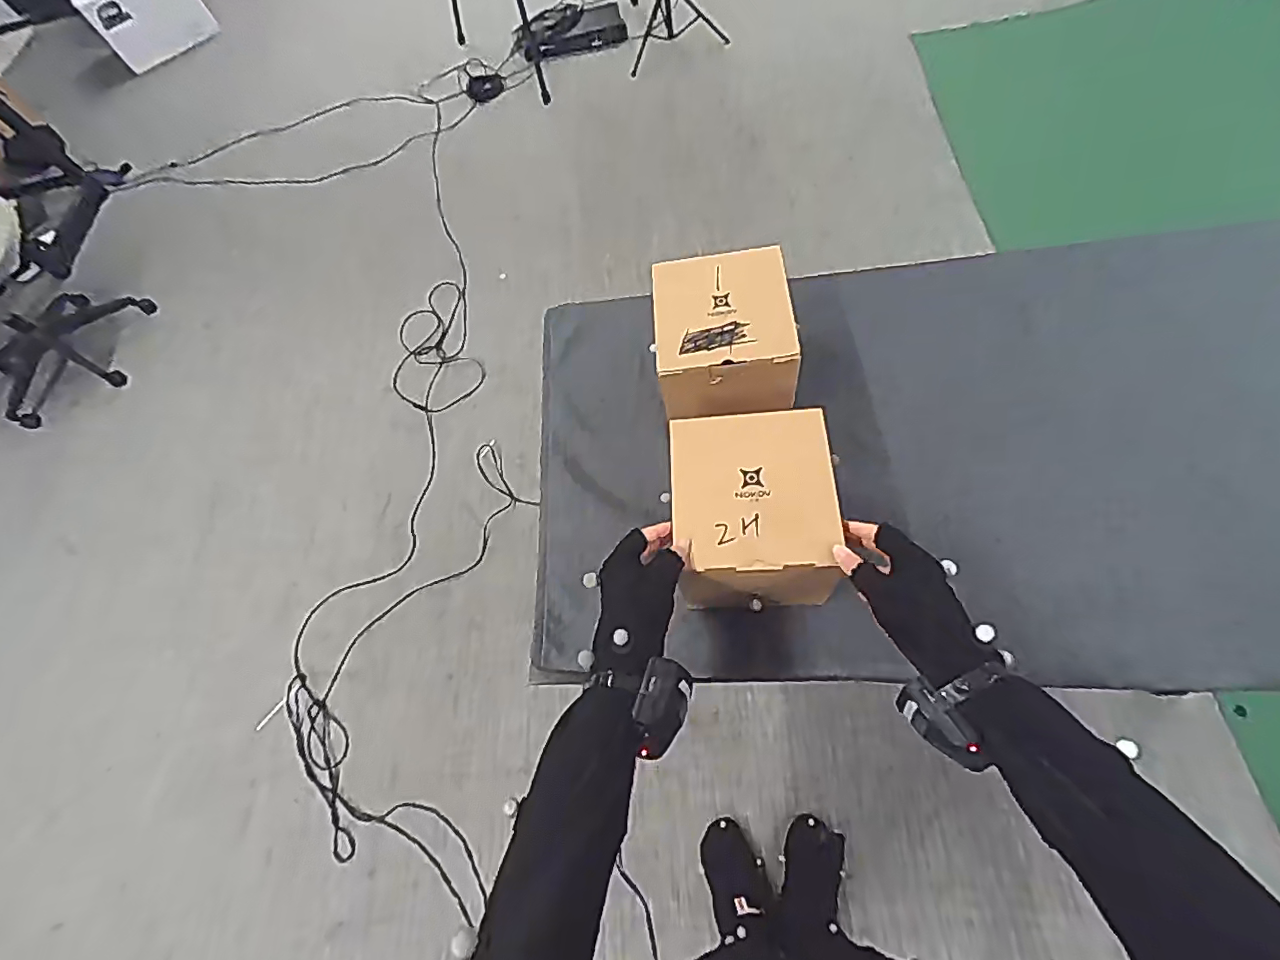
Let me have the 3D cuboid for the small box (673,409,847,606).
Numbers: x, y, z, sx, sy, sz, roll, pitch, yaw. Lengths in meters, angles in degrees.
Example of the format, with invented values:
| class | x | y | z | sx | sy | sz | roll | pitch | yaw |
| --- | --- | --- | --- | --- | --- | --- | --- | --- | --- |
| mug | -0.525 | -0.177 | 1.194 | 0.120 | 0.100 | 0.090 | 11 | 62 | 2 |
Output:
| class | x | y | z | sx | sy | sz | roll | pitch | yaw |
| --- | --- | --- | --- | --- | --- | --- | --- | --- | --- |
| small box | 0.127 | 0.040 | 0.624 | 0.168 | 0.176 | 0.179 | -4 | 65 | 8 |

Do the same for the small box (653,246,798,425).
| class | x | y | z | sx | sy | sz | roll | pitch | yaw |
| --- | --- | --- | --- | --- | --- | --- | --- | --- | --- |
| small box | 0.111 | -0.175 | 0.724 | 0.168 | 0.176 | 0.179 | -5 | 65 | 7 |
